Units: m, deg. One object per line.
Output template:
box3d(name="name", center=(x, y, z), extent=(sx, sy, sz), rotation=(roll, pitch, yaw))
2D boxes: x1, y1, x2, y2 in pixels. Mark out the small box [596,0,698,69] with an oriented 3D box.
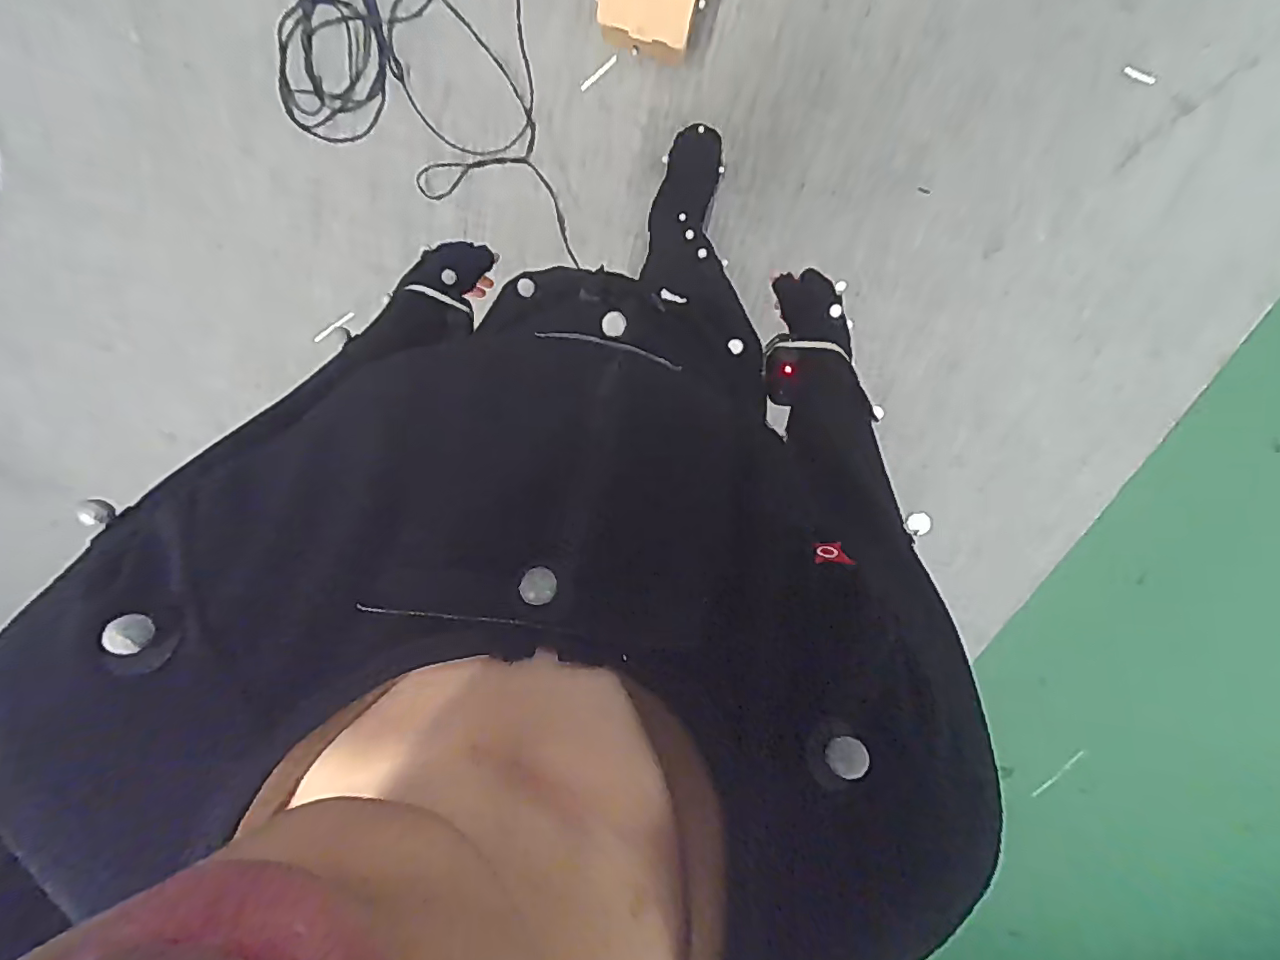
box3d(name="small box", center=(0.023, -0.899, 0.999), extent=(0.168, 0.176, 0.179), rotation=(14, 119, -4))
